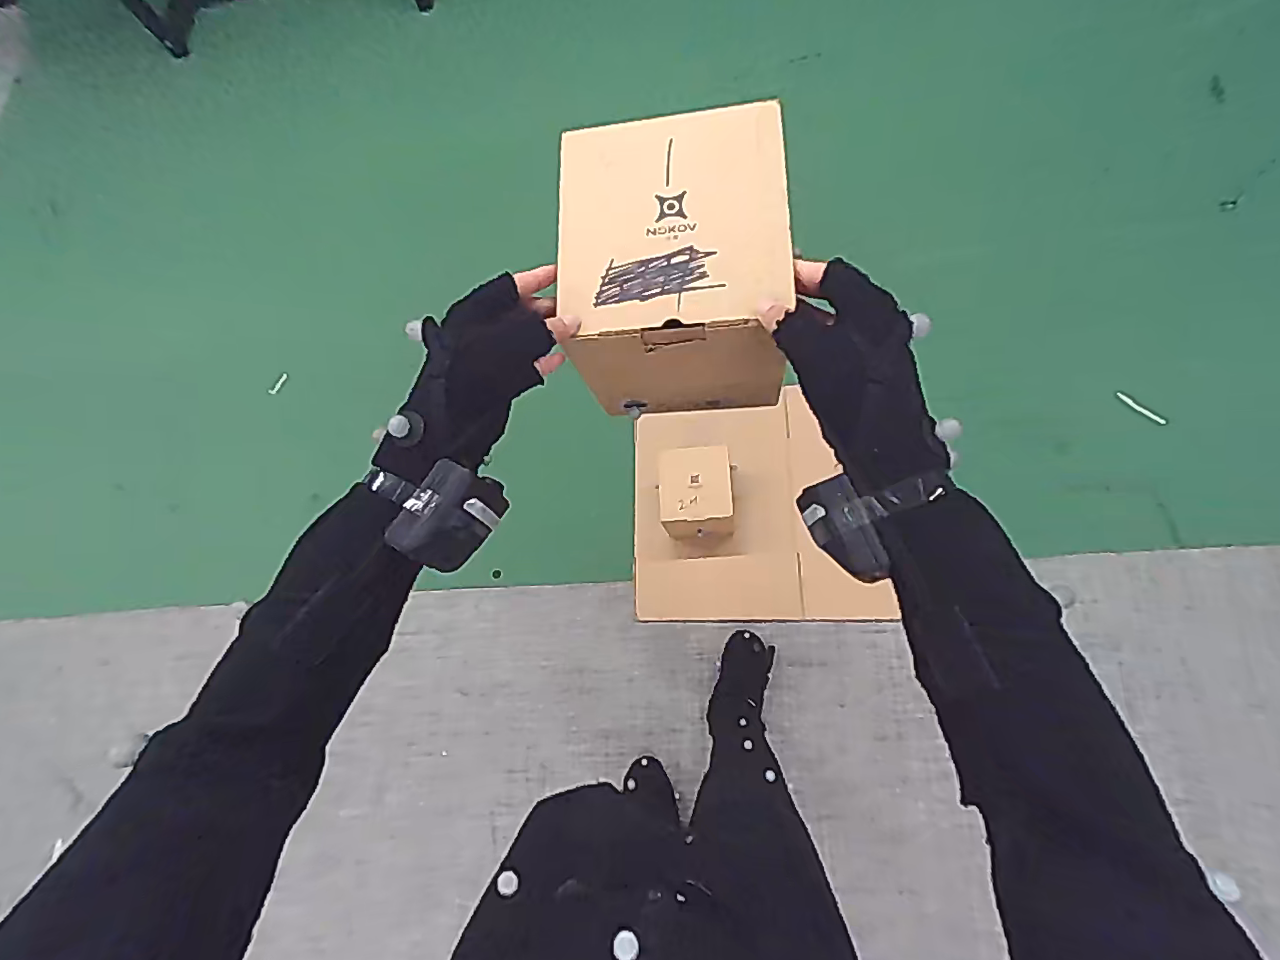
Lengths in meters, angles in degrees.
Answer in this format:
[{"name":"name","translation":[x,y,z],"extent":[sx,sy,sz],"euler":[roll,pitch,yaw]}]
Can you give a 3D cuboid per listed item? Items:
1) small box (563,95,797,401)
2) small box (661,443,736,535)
[{"name":"small box","translation":[0.040,-0.174,0.463],"extent":[0.168,0.176,0.179],"euler":[-2,77,9]},{"name":"small box","translation":[0.143,0.026,1.302],"extent":[0.168,0.176,0.179],"euler":[-4,72,10]}]
